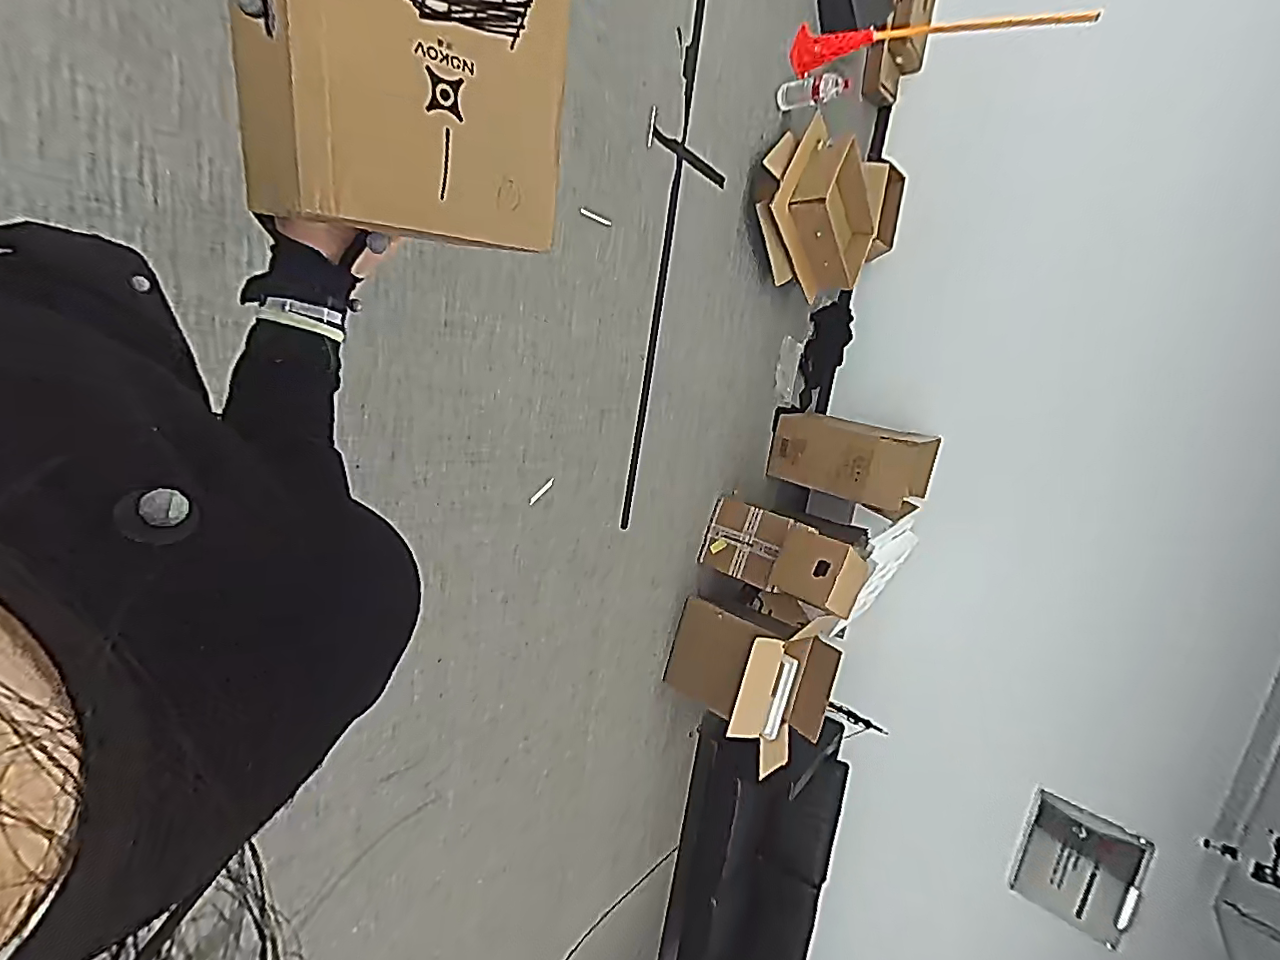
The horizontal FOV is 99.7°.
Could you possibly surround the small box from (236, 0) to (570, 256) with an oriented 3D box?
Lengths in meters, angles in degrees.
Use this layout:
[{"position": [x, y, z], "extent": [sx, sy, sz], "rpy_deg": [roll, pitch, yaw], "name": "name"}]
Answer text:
[{"position": [-0.170, -0.269, 0.386], "extent": [0.168, 0.176, 0.179], "rpy_deg": [-10, 117, -42], "name": "small box"}]
